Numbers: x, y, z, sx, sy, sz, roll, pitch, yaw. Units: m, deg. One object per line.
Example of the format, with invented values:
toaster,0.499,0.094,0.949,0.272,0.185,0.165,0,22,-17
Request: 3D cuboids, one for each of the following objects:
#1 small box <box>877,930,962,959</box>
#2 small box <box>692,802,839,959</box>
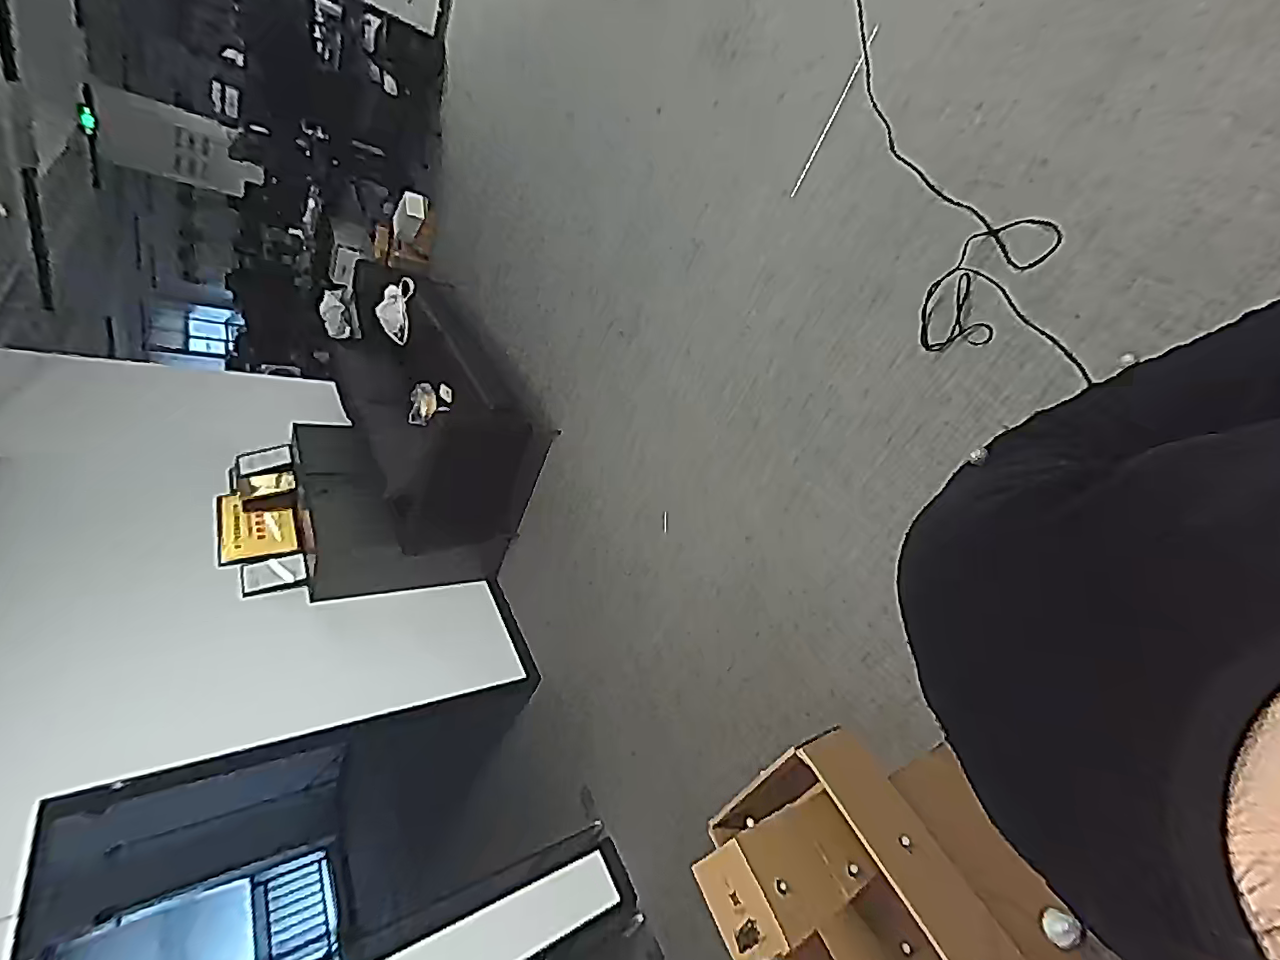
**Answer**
small box,0.507,0.956,0.955,0.179,0.176,0.168,57,130,36
small box,0.238,0.755,1.028,0.168,0.176,0.179,-59,47,33
